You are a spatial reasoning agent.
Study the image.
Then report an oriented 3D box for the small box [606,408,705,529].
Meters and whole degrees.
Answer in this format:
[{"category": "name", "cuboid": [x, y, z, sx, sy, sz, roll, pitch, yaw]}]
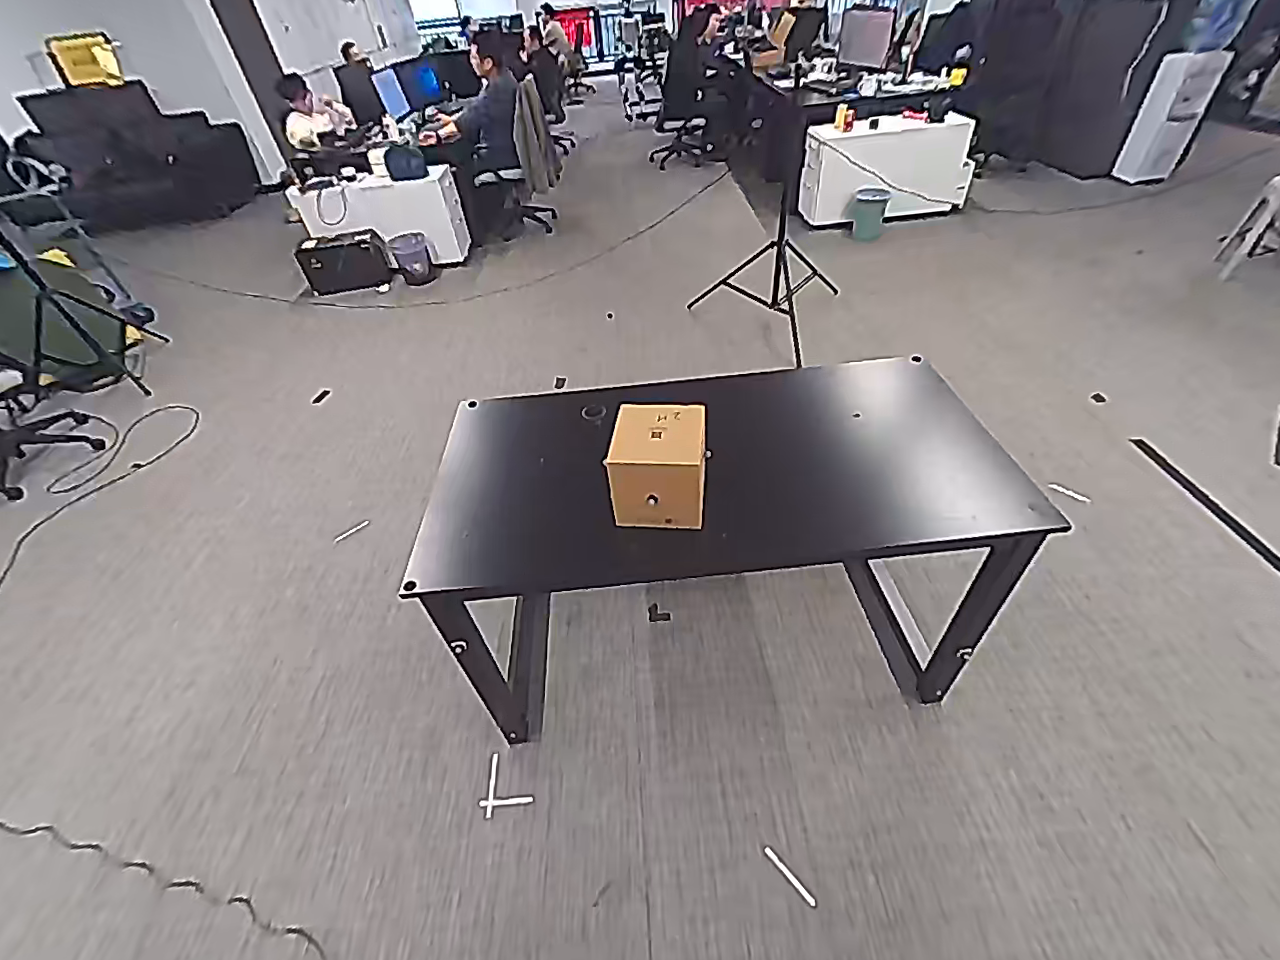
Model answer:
[{"category": "small box", "cuboid": [0.039, -0.022, 1.050, 0.168, 0.176, 0.179, 2, 43, 8]}]
